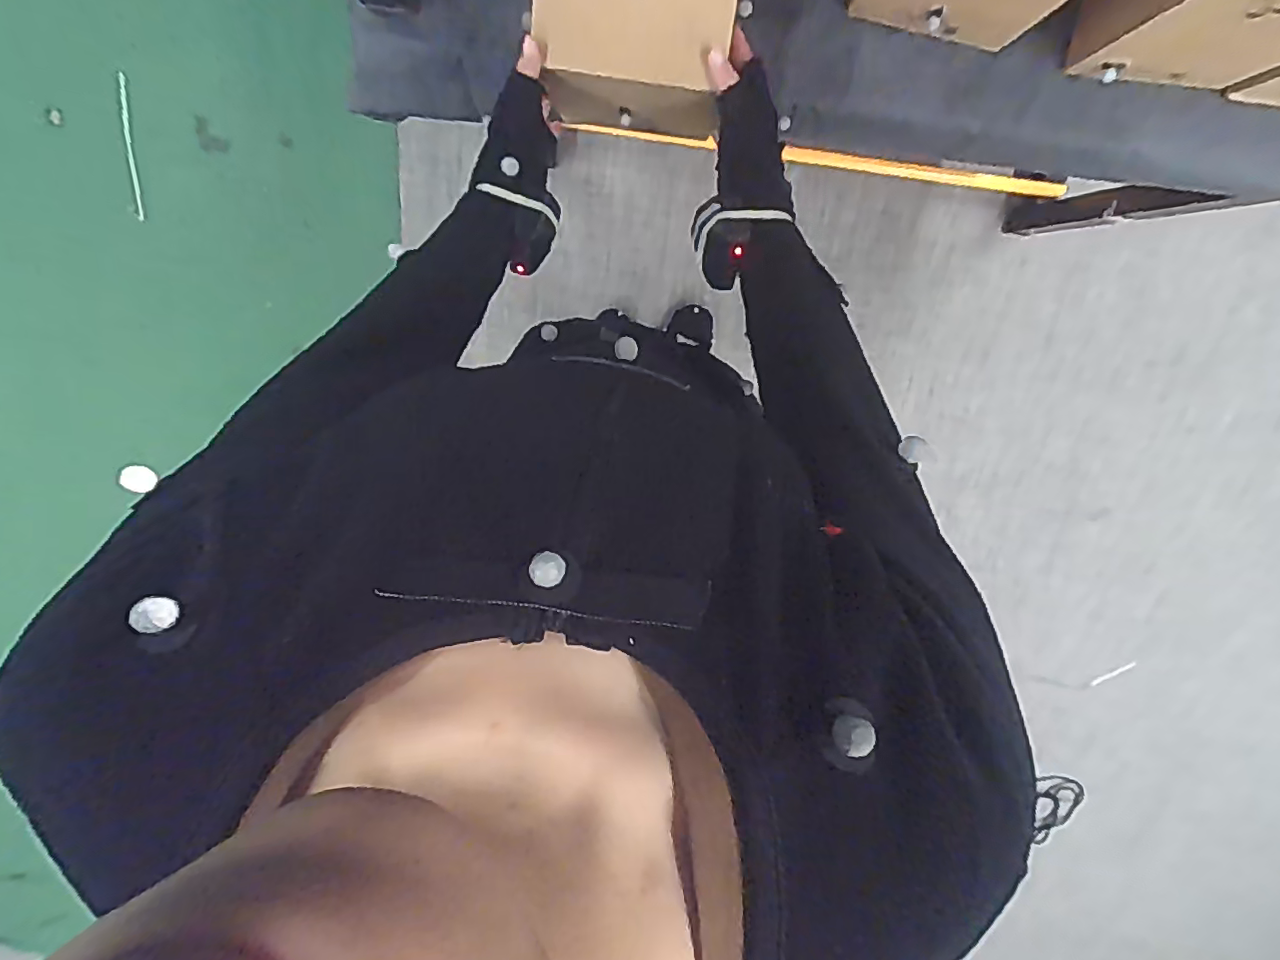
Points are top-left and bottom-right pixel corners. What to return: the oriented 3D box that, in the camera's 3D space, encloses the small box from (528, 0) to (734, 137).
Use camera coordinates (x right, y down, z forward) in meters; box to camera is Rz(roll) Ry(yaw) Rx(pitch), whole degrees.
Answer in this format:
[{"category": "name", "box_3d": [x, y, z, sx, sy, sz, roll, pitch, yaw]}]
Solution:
[{"category": "small box", "box_3d": [0.002, -0.440, 0.497, 0.168, 0.176, 0.179, 8, 109, -1]}]
